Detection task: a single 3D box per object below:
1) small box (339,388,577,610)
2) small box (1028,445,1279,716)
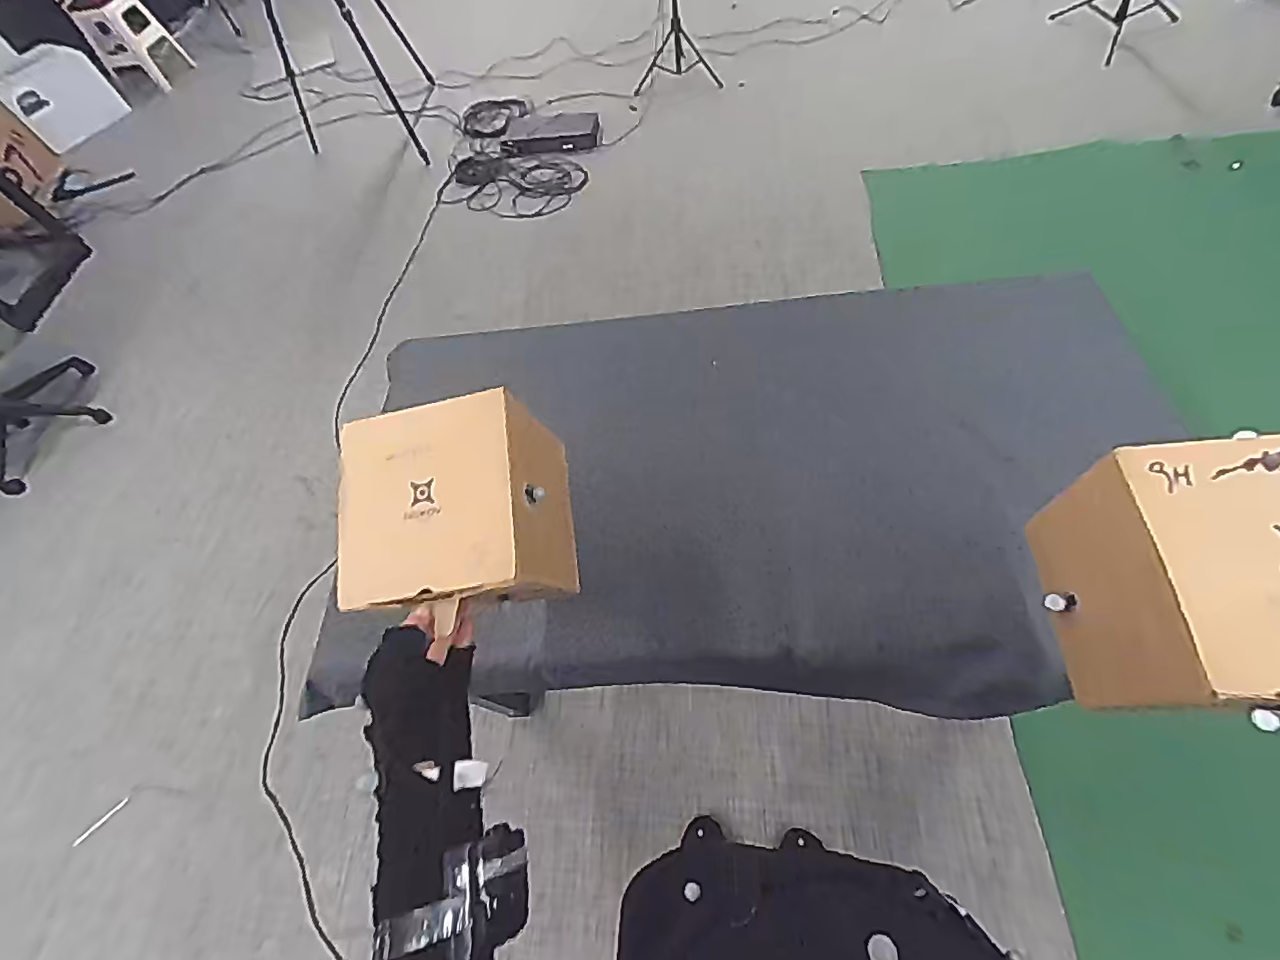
[{"bbox_3d":[-0.169,0.034,0.544,0.168,0.176,0.179,-11,72,8],"label":"small box"},{"bbox_3d":[0.446,0.088,0.421,0.168,0.176,0.179,-4,65,11],"label":"small box"}]
